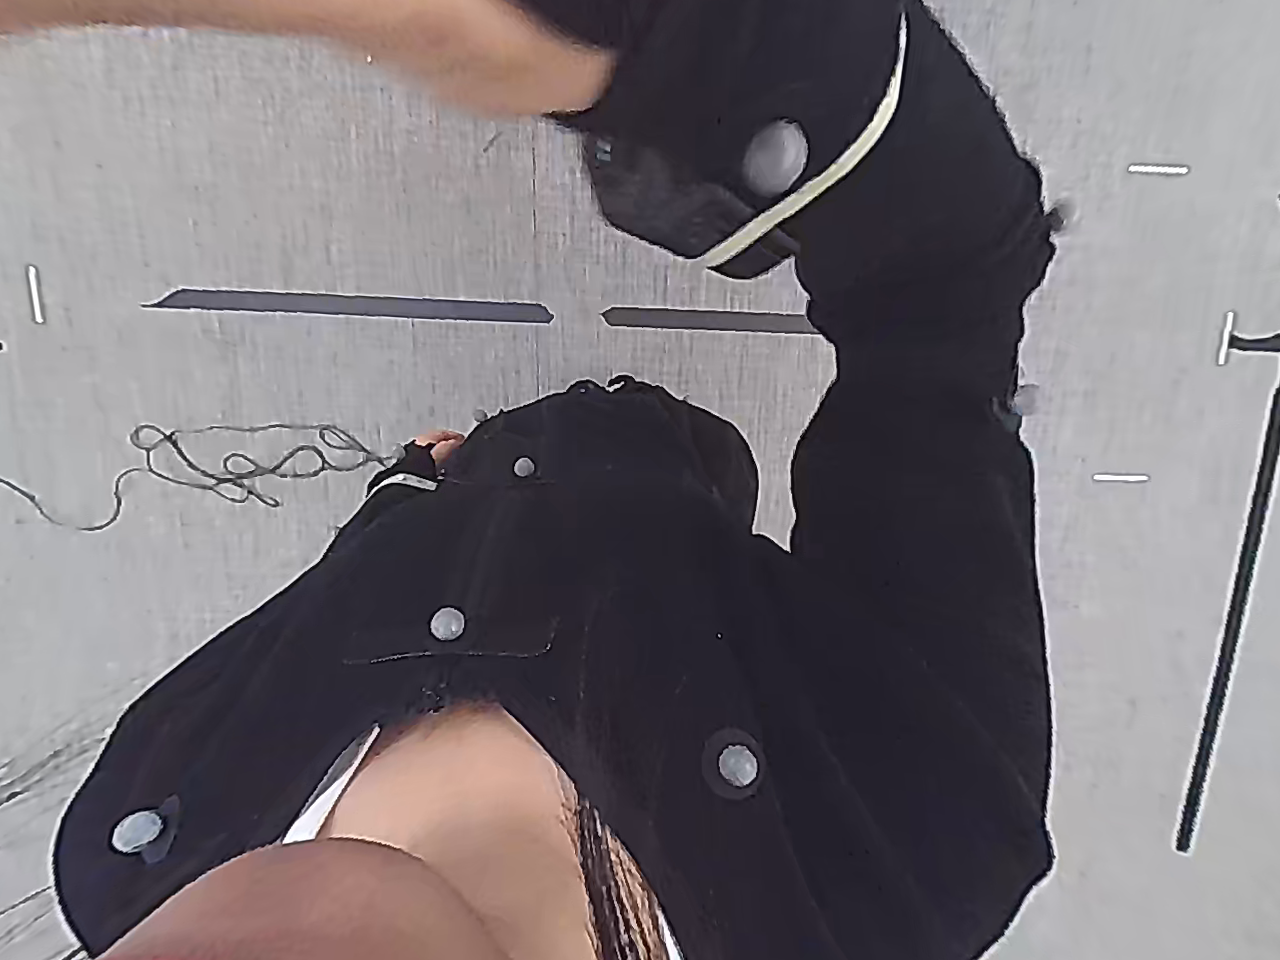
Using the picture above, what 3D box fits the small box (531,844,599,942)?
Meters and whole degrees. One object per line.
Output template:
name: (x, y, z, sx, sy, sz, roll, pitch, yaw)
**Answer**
small box: (-0.221, 1.236, 1.630, 0.179, 0.176, 0.168, 6, 99, -3)
